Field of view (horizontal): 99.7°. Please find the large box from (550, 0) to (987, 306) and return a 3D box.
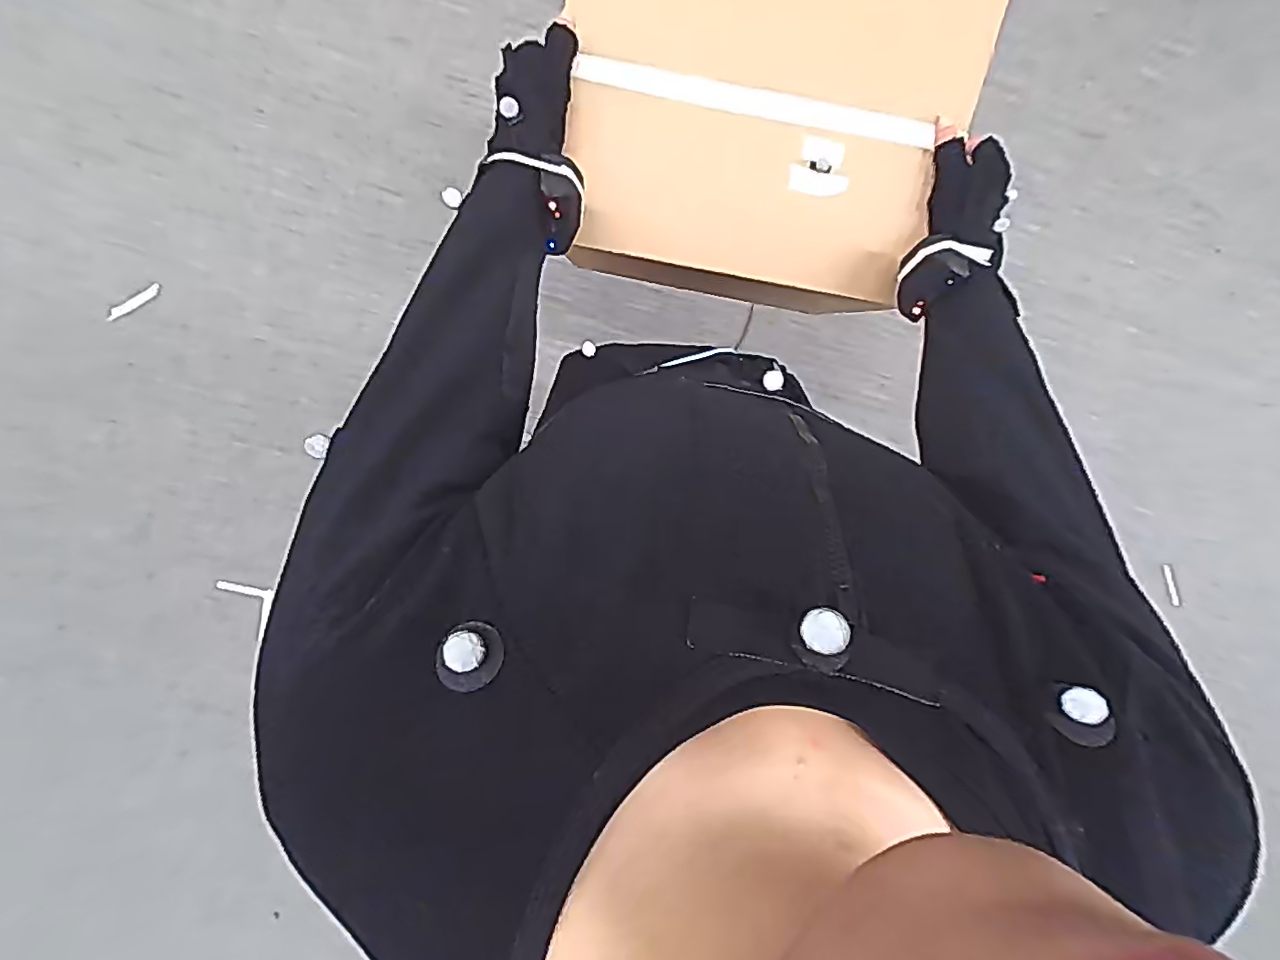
[{"bbox_3d":[0.117,-0.414,0.688,0.408,0.320,0.320,9,107,-4],"label":"large box"}]
